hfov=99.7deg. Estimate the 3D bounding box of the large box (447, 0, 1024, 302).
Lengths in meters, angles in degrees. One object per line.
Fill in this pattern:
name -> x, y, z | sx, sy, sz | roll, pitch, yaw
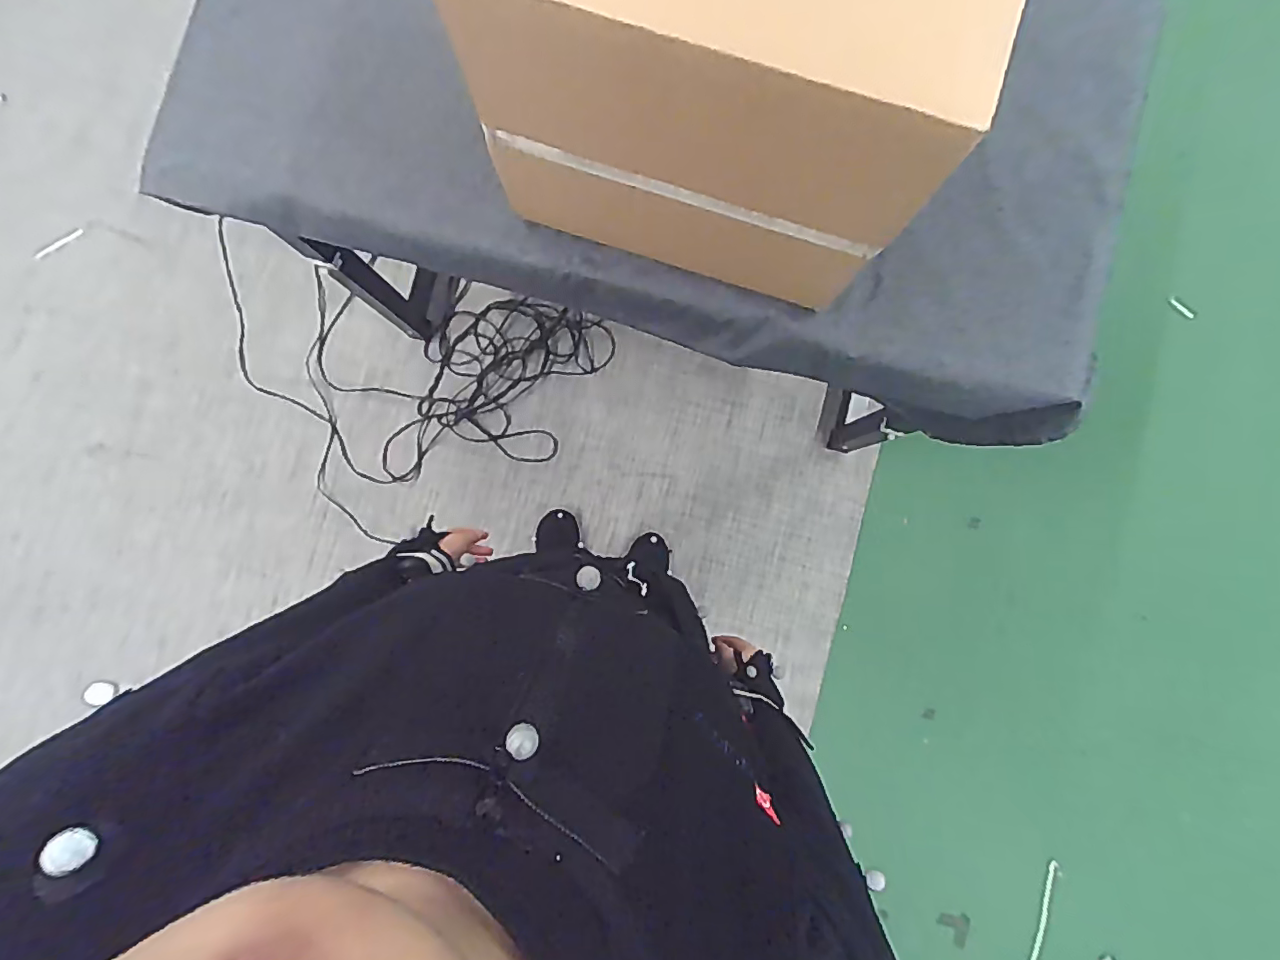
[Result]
large box -> 0.090, -0.423, 0.533 | 0.408, 0.320, 0.320 | 16, 85, 0
